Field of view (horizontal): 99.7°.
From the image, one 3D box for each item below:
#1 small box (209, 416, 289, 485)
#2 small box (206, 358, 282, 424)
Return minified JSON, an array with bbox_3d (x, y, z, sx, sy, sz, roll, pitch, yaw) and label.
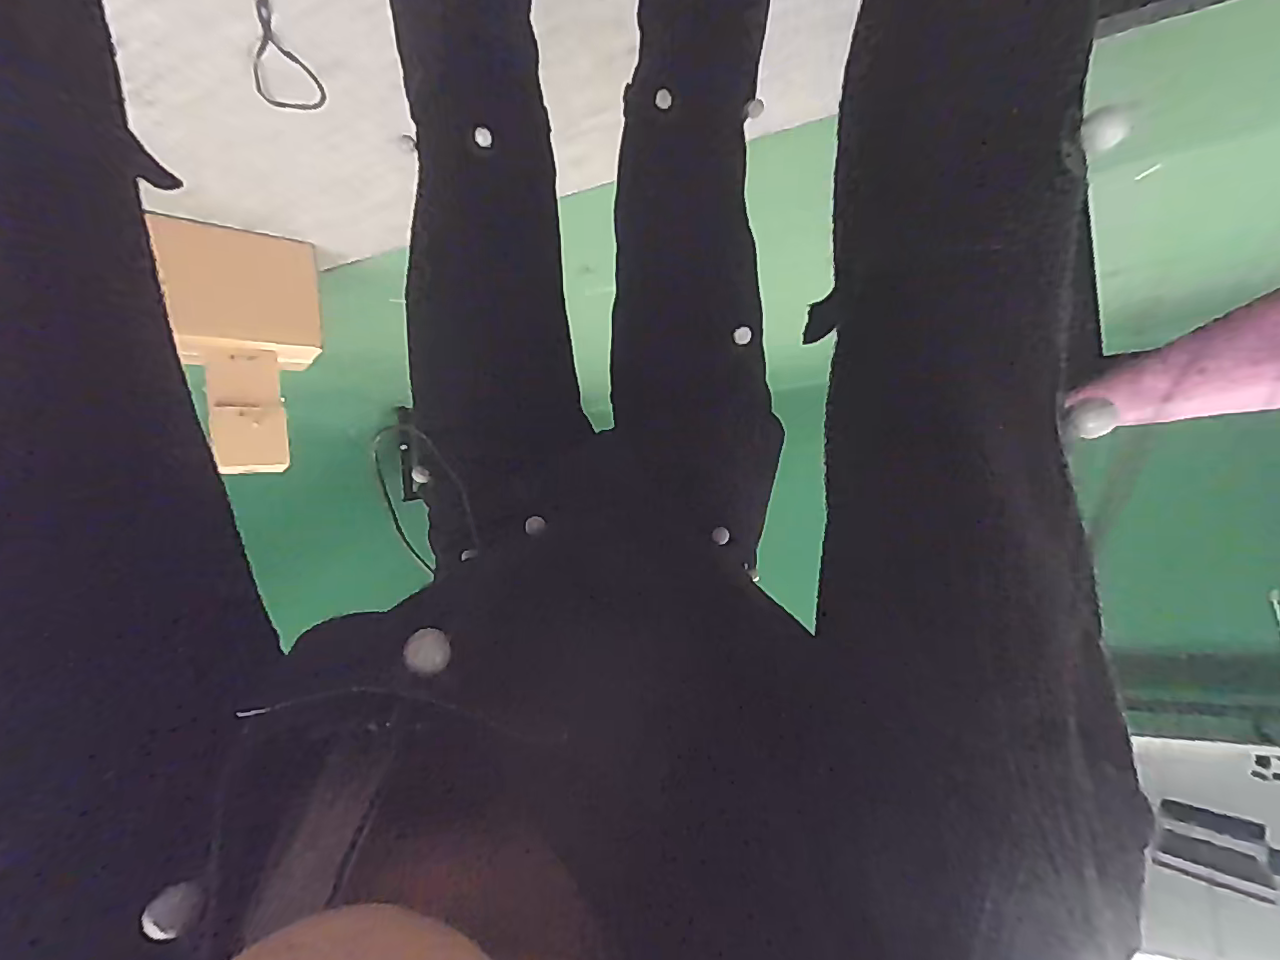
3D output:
[{"bbox_3d":[-1.115,-0.081,1.538,0.168,0.176,0.179,-4,177,-41],"label":"small box"},{"bbox_3d":[-1.137,-0.243,1.554,0.168,0.176,0.179,-4,178,-36],"label":"small box"}]
